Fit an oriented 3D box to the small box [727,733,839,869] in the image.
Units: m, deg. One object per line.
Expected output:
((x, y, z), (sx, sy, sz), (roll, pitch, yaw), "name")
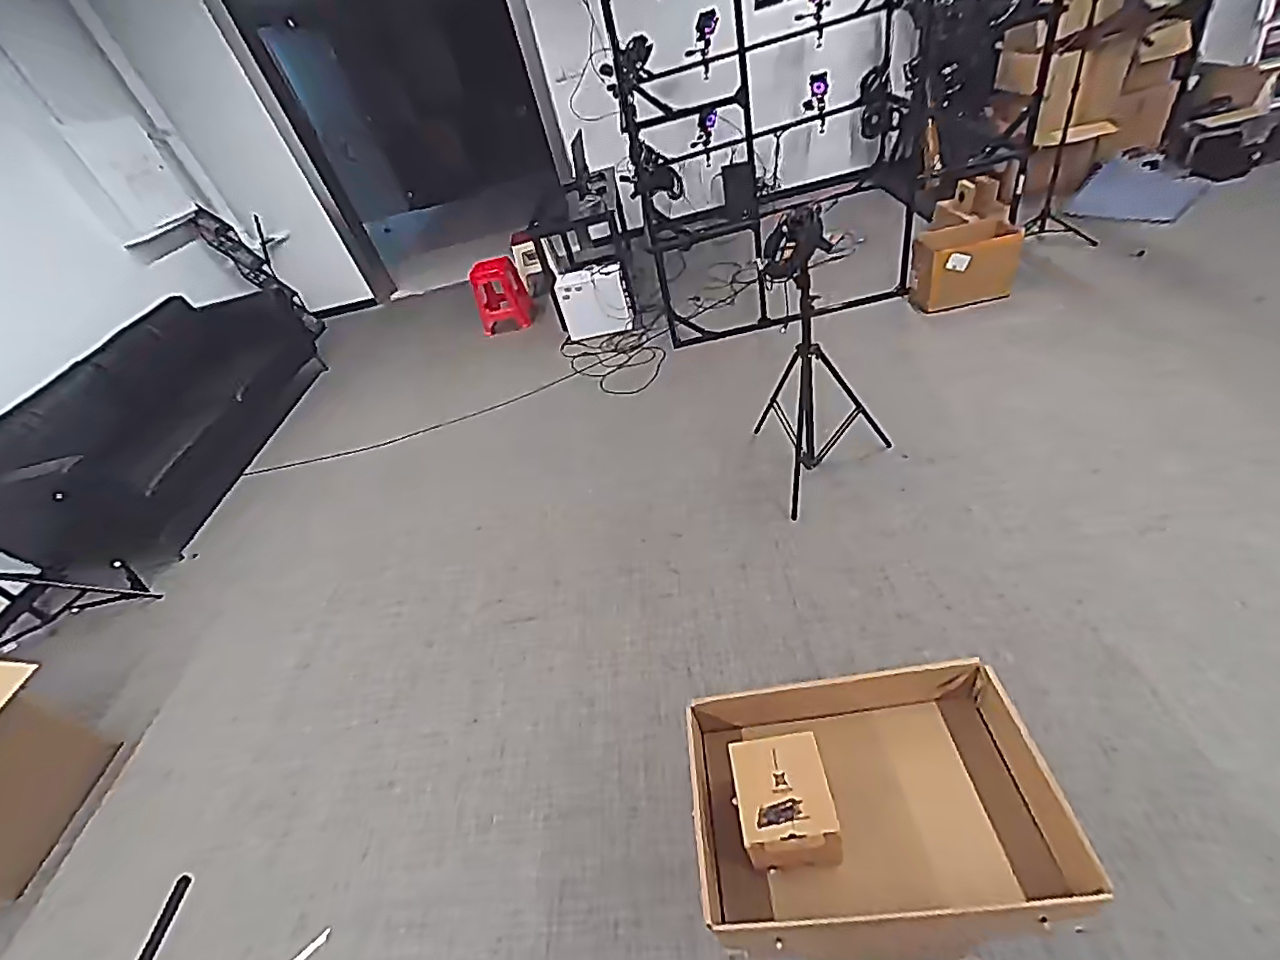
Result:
((0.270, 0.613, 1.025), (0.168, 0.176, 0.179), (-12, 39, 7), "small box")
